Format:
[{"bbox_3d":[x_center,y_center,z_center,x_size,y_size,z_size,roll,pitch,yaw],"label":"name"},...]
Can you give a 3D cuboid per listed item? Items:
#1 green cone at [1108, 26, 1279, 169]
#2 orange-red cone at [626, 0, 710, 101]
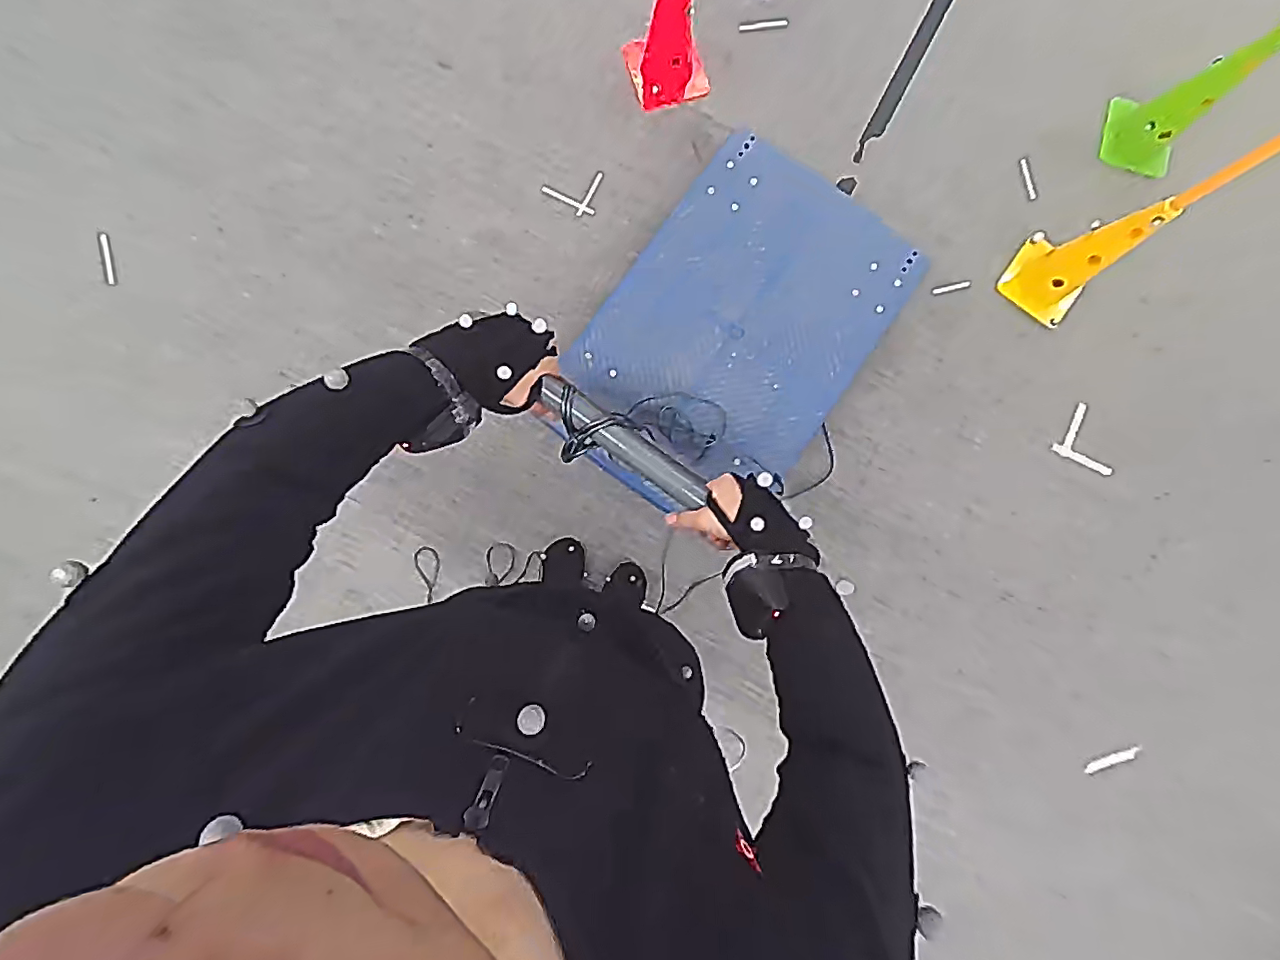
[{"bbox_3d":[1.424,-0.990,1.340,0.200,0.368,0.202,14,87,-1],"label":"green cone"},{"bbox_3d":[0.086,-1.145,1.294,0.199,0.360,0.198,-17,88,-5],"label":"orange-red cone"}]
